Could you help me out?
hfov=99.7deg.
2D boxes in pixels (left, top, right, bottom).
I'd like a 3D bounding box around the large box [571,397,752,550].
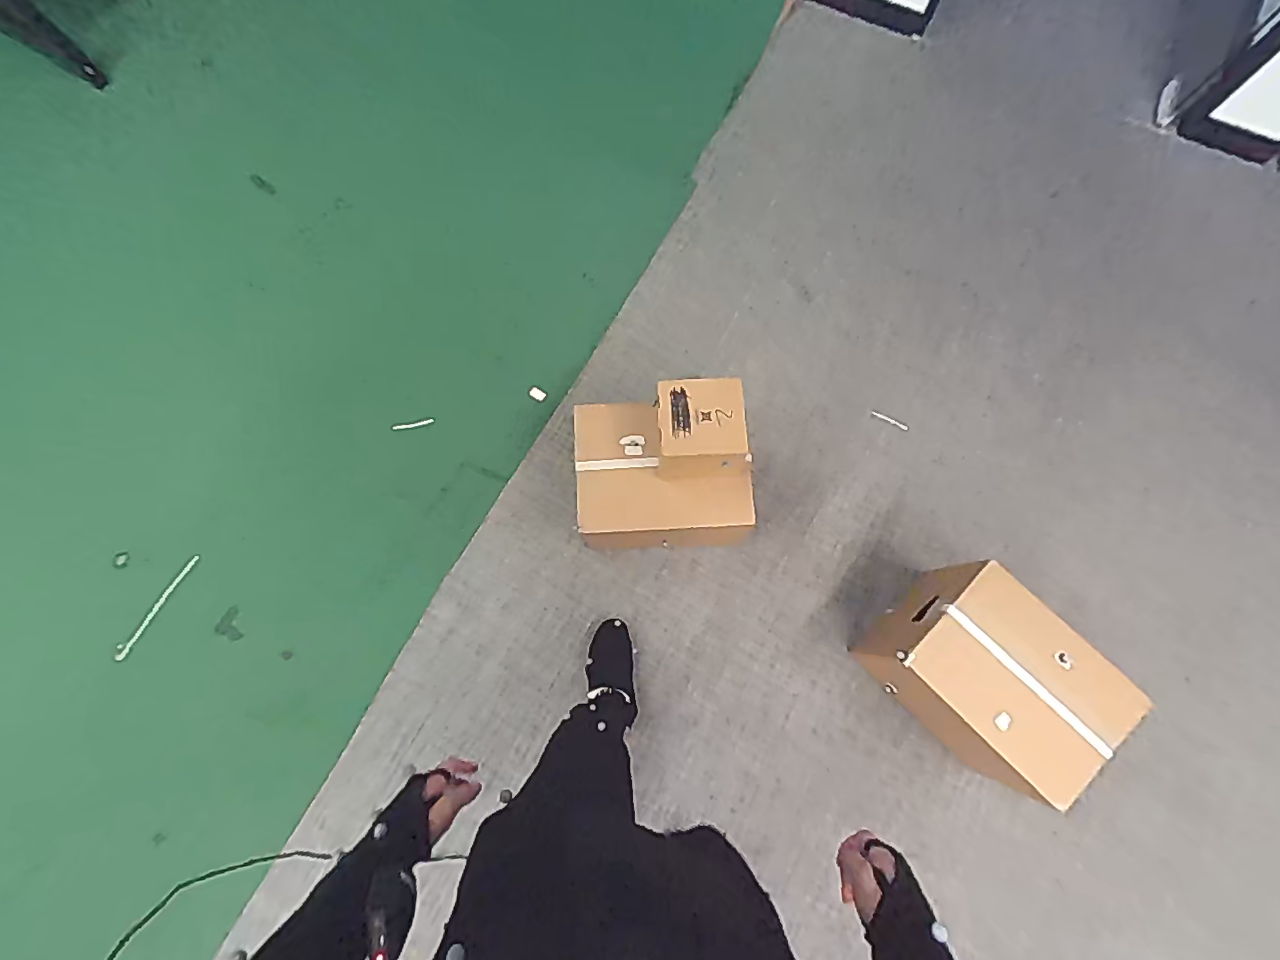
[{"bbox_3d":[0.049,0.001,1.390,0.408,0.320,0.320,-4,75,0],"label":"large box"}]
